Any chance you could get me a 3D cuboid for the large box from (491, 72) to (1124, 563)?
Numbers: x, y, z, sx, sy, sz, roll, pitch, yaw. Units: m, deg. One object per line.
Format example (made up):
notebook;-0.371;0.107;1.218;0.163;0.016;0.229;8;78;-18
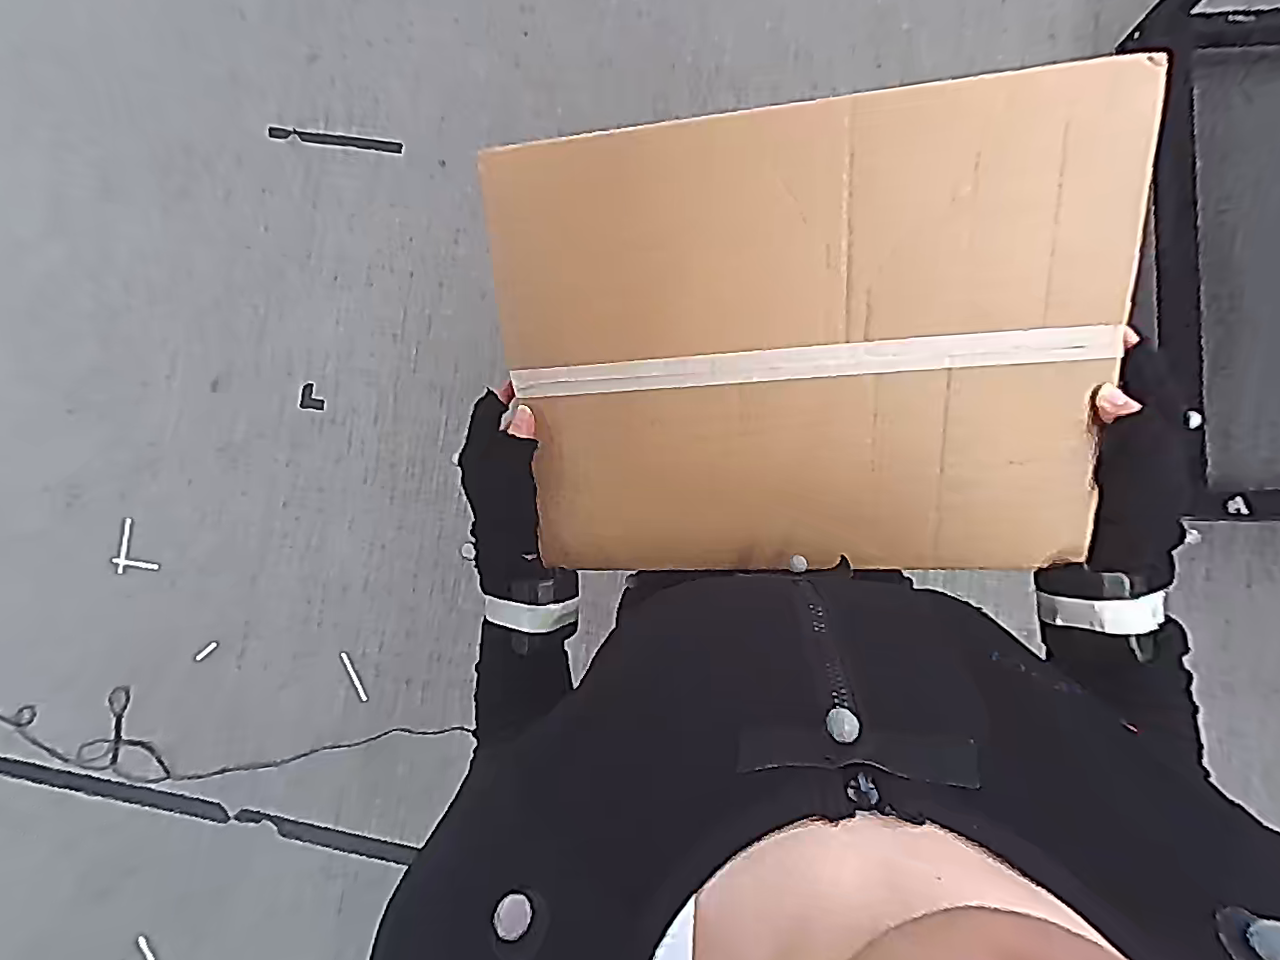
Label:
large box;0.123;-0.128;0.531;0.408;0.320;0.320;-2;108;9
